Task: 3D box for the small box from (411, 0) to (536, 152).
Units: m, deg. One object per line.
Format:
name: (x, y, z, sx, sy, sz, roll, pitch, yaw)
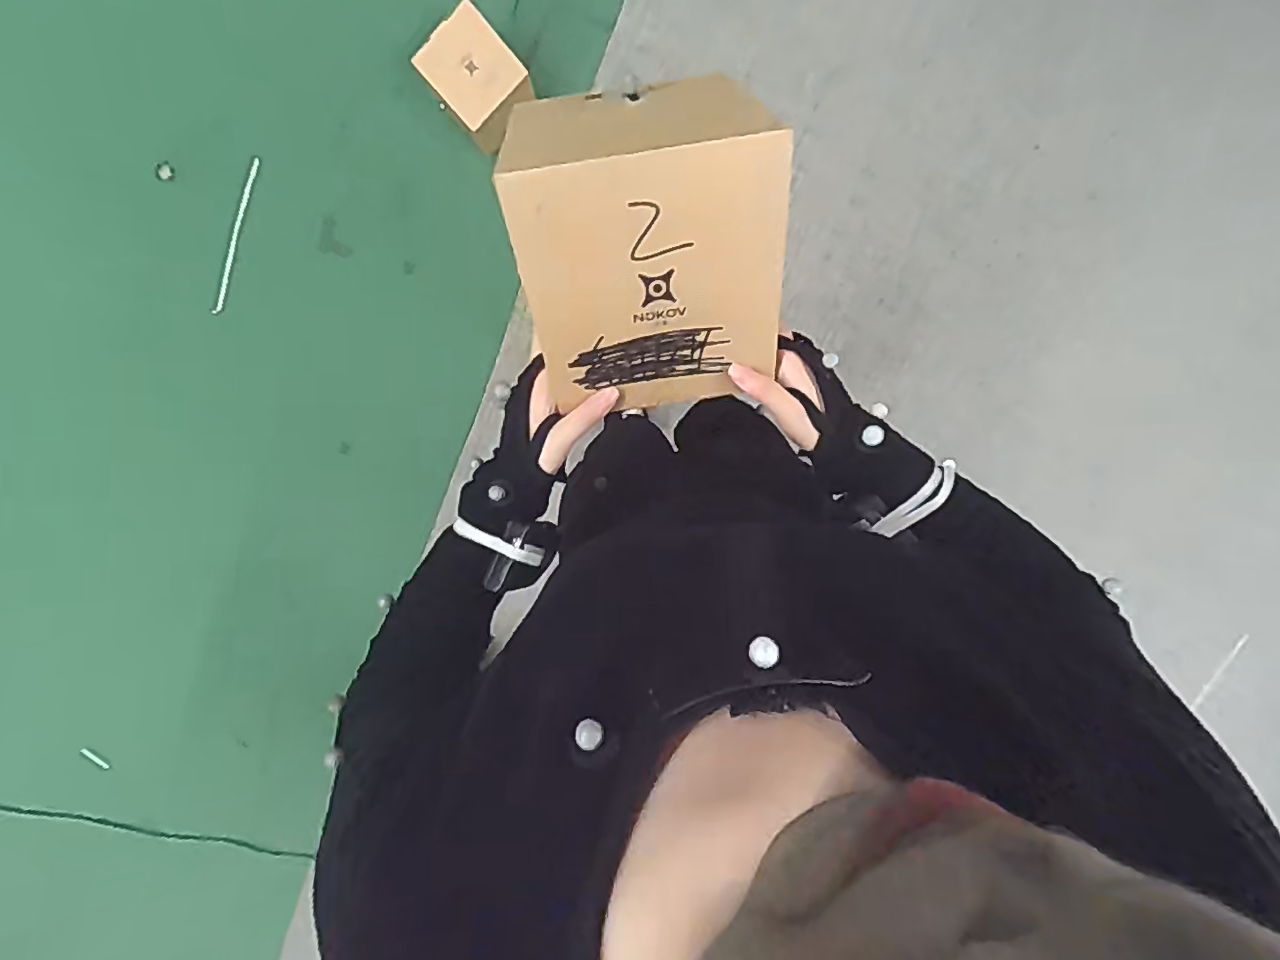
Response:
small box: (-0.349, -0.860, 1.169, 0.168, 0.176, 0.179, -42, 103, 7)
